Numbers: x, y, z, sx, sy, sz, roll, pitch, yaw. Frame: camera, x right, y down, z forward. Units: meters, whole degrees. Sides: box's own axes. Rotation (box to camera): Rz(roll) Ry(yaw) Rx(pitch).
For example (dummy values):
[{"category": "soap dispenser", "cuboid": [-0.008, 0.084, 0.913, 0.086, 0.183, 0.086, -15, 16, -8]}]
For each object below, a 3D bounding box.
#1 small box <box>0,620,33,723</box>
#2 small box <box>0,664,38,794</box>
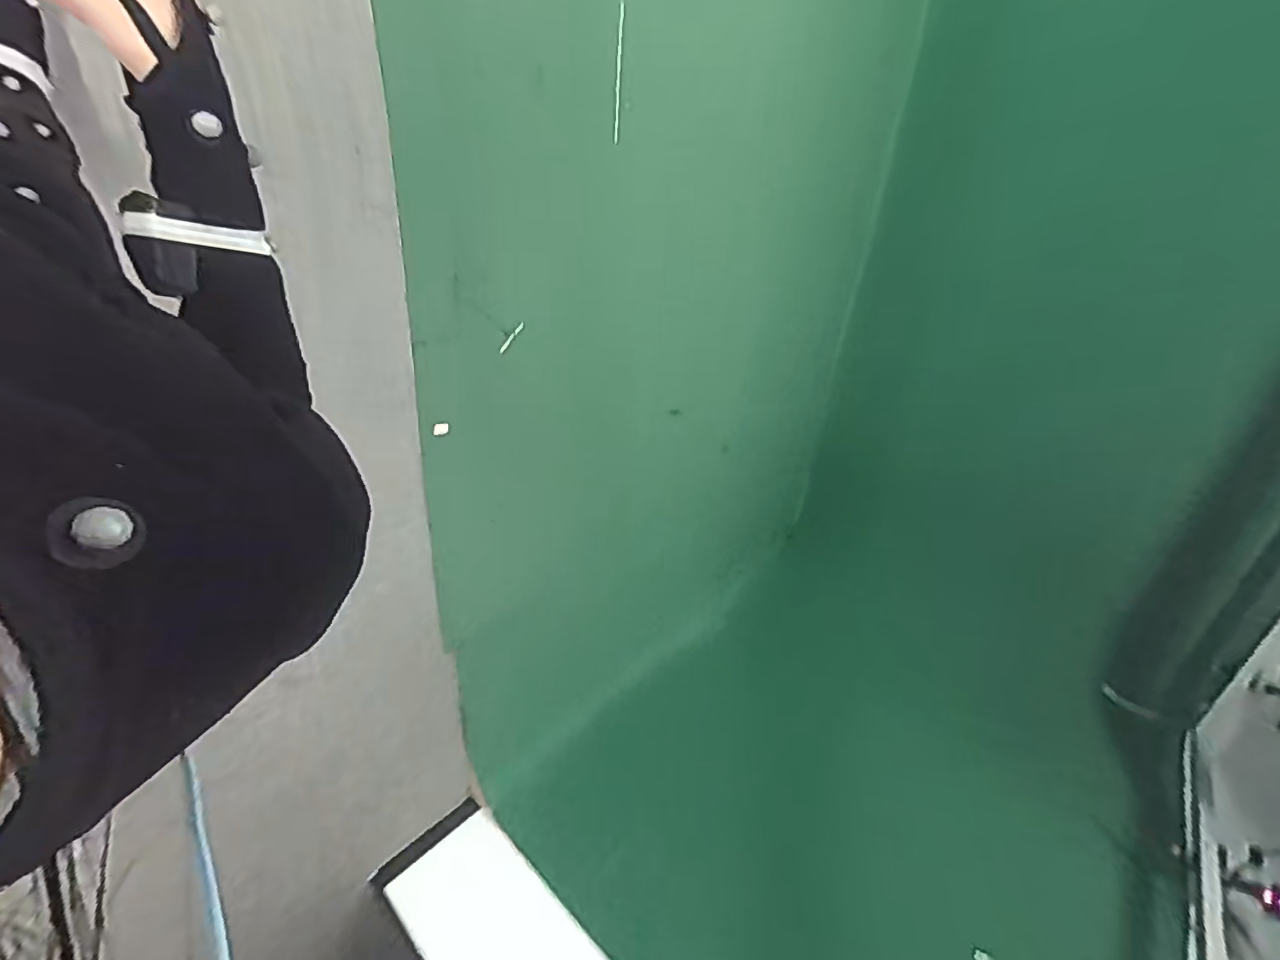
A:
[{"category": "small box", "cuboid": [-1.265, 0.377, 0.991, 0.168, 0.176, 0.179, -22, 126, -45]}, {"category": "small box", "cuboid": [-1.147, 0.429, 0.891, 0.168, 0.176, 0.179, -20, 125, -44]}]
